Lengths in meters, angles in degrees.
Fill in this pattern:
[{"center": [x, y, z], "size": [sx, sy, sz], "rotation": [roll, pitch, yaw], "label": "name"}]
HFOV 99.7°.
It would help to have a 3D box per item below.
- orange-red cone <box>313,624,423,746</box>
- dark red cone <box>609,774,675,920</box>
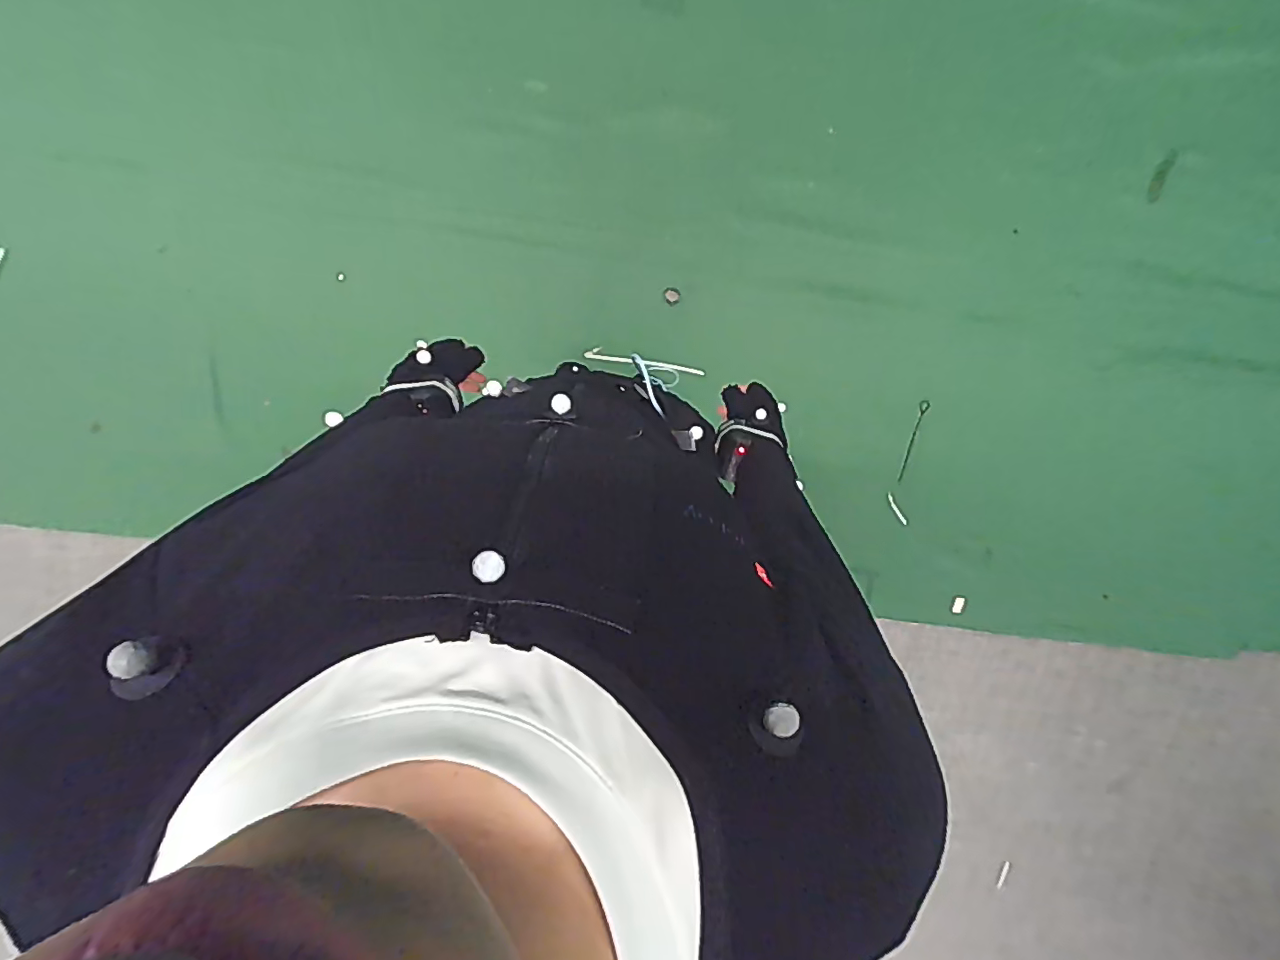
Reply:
[{"center": [-0.740, 0.564, 1.425], "size": [0.198, 0.360, 0.199], "rotation": [8, 103, -2], "label": "orange-red cone"}, {"center": [0.008, 1.039, 1.528], "size": [0.202, 0.394, 0.201], "rotation": [2, 101, -2], "label": "dark red cone"}]
